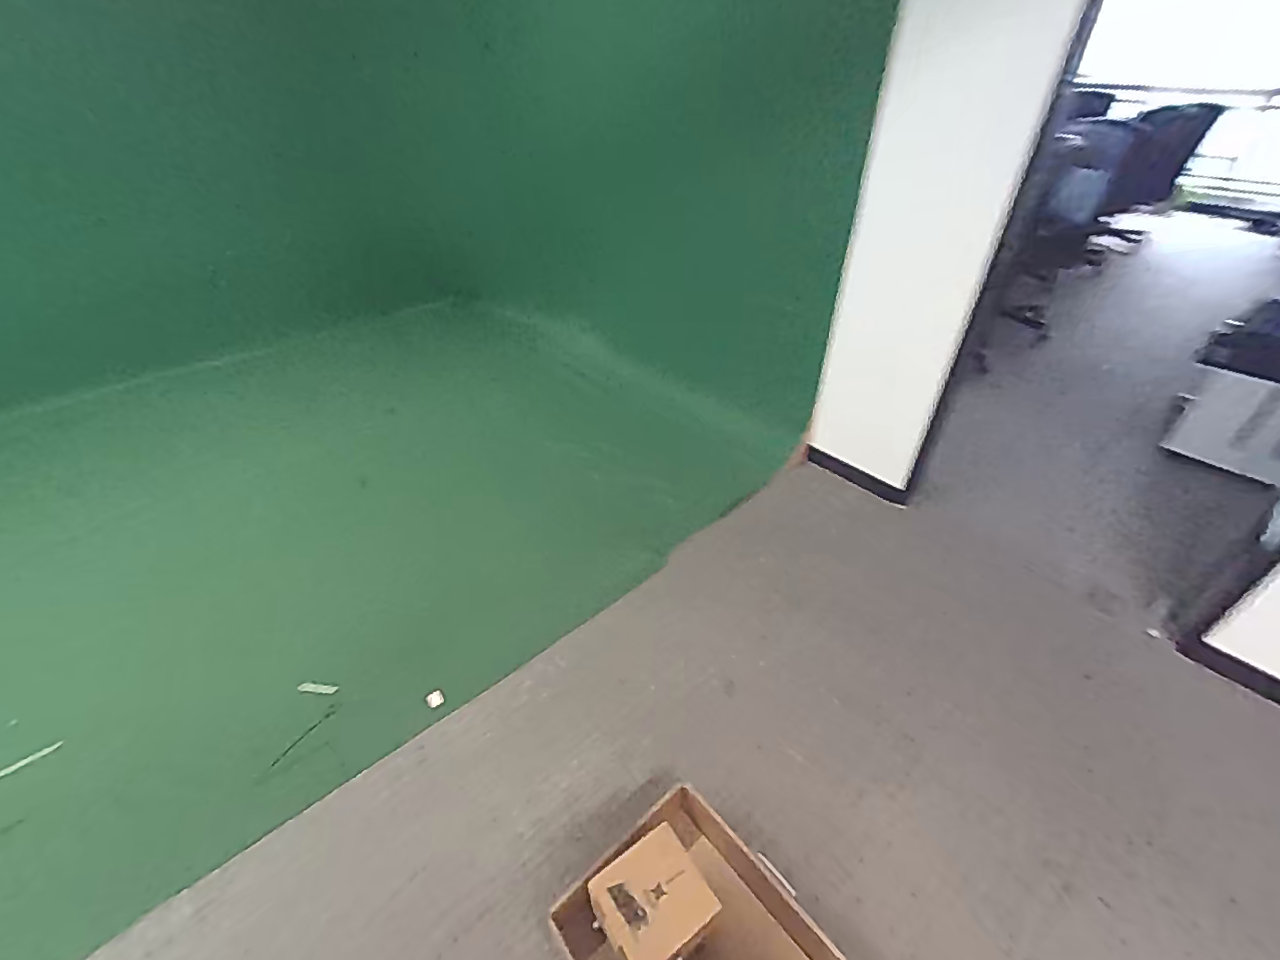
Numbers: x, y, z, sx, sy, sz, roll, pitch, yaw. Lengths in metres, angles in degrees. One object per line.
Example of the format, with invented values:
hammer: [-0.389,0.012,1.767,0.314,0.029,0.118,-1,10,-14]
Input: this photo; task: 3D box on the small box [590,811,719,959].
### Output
small box: [0.027,0.770,1.003,0.179,0.176,0.168,-23,45,-26]
